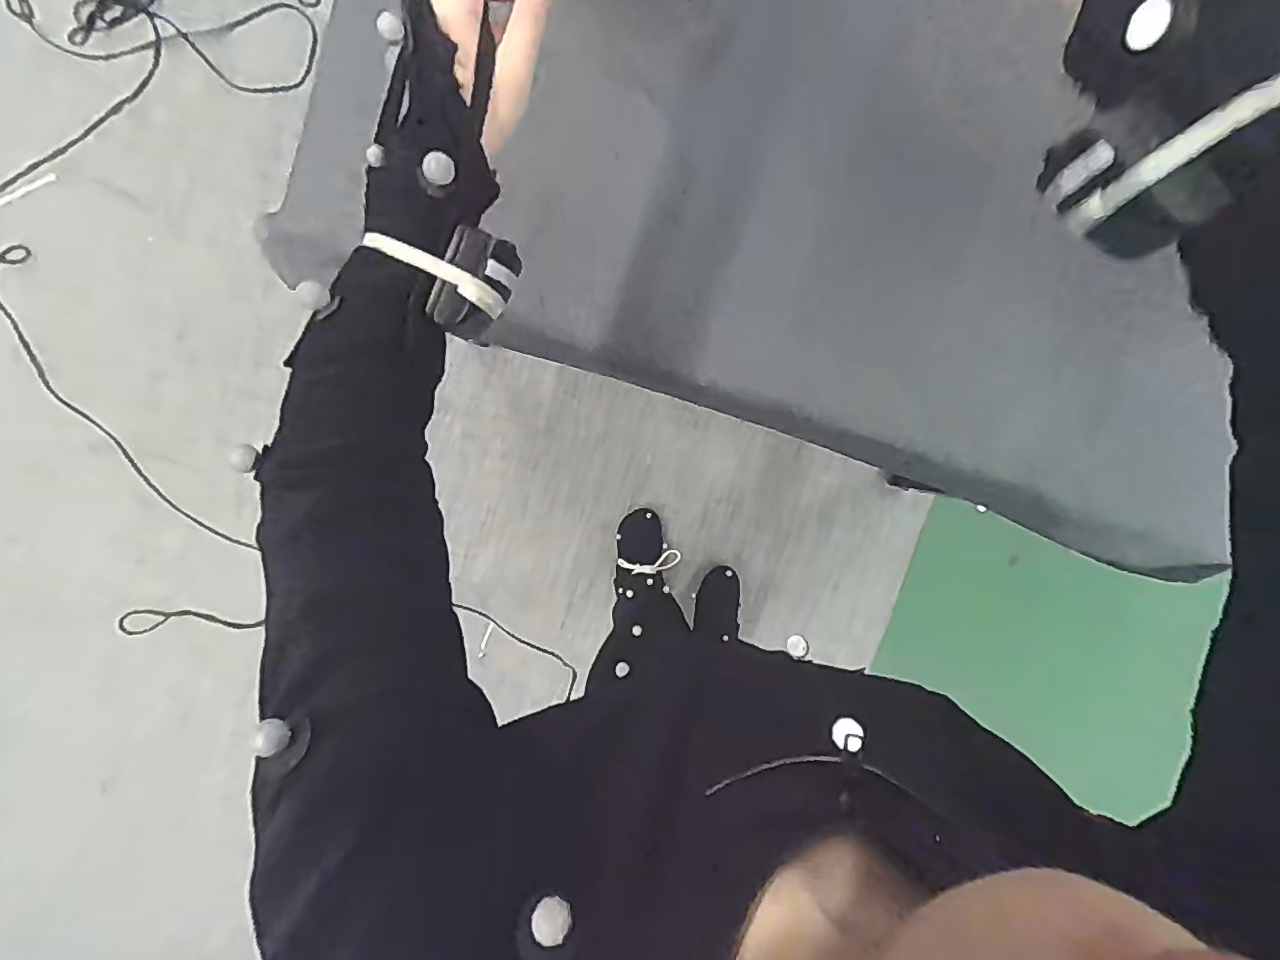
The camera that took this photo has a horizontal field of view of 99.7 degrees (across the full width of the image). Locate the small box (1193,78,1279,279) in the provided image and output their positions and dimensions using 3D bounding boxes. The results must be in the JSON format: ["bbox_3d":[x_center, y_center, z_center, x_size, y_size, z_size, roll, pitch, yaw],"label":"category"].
[{"bbox_3d":[0.756,-0.339,0.566,0.168,0.176,0.179,20,95,-7],"label":"small box"}]
